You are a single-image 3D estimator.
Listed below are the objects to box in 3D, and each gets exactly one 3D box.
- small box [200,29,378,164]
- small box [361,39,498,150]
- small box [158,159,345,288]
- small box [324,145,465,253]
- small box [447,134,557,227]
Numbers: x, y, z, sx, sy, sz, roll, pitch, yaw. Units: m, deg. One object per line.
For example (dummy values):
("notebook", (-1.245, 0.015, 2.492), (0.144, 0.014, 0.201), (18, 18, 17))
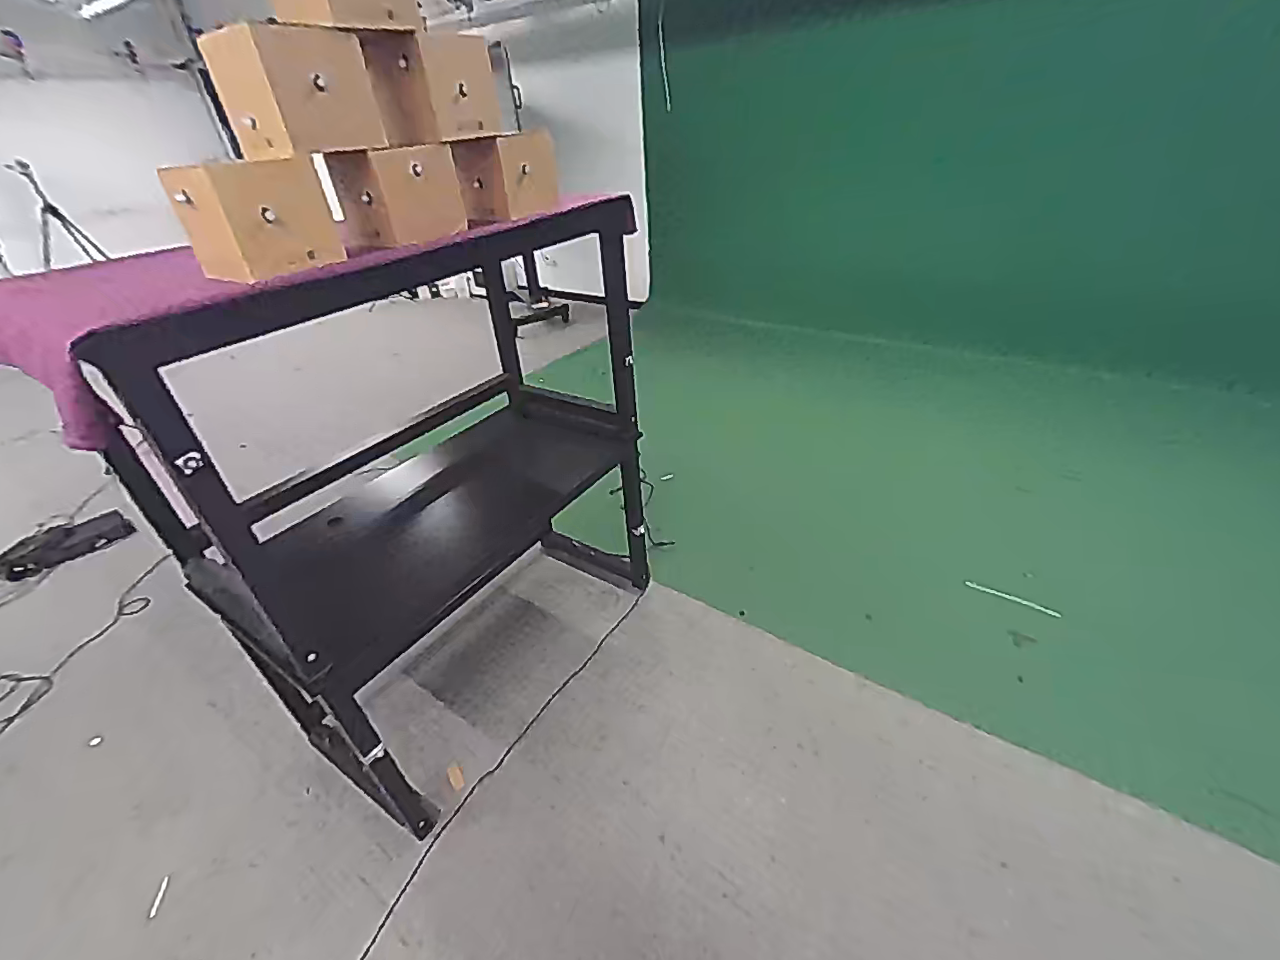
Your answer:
("small box", (-0.573, -0.636, 0.910), (0.168, 0.176, 0.179), (17, 40, 29))
("small box", (-0.413, -0.769, 1.088), (0.179, 0.176, 0.168), (17, 40, 29))
("small box", (-0.633, -0.426, 0.901), (0.179, 0.176, 0.168), (16, 39, 30))
("small box", (-0.482, -0.562, 1.085), (0.168, 0.176, 0.179), (18, 40, 31))
("small box", (-0.317, -0.706, 1.278), (0.168, 0.176, 0.179), (18, 42, 29))
